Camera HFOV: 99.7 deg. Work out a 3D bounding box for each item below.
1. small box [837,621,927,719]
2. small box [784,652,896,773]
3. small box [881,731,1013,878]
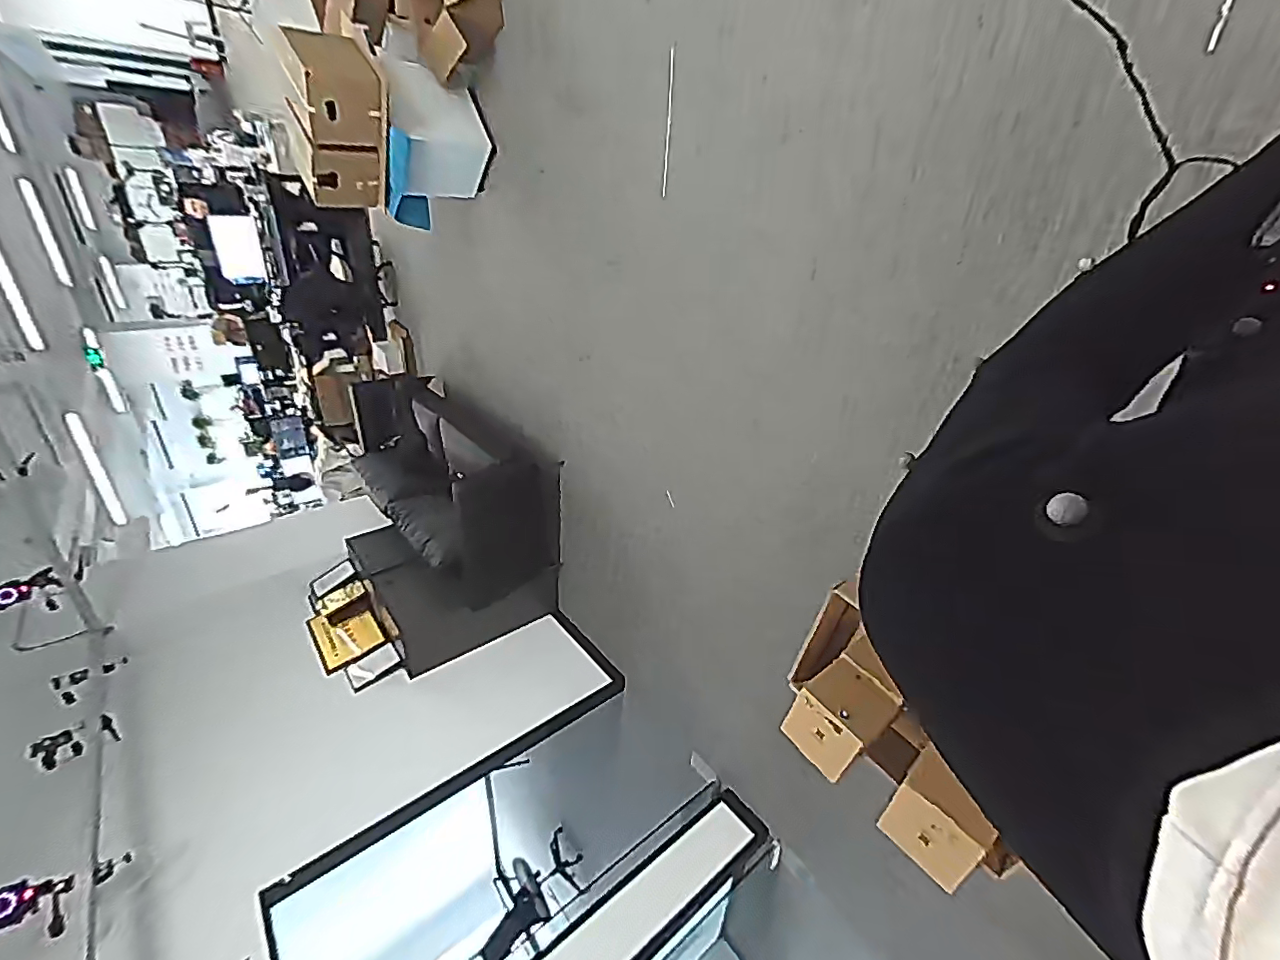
[{"bbox_3d":[0.609,0.504,1.405,0.168,0.176,0.179,37,132,35],"label":"small box"},{"bbox_3d":[0.485,0.558,1.311,0.168,0.176,0.179,39,134,34],"label":"small box"},{"bbox_3d":[0.654,0.683,1.152,0.168,0.176,0.179,35,131,37],"label":"small box"}]
